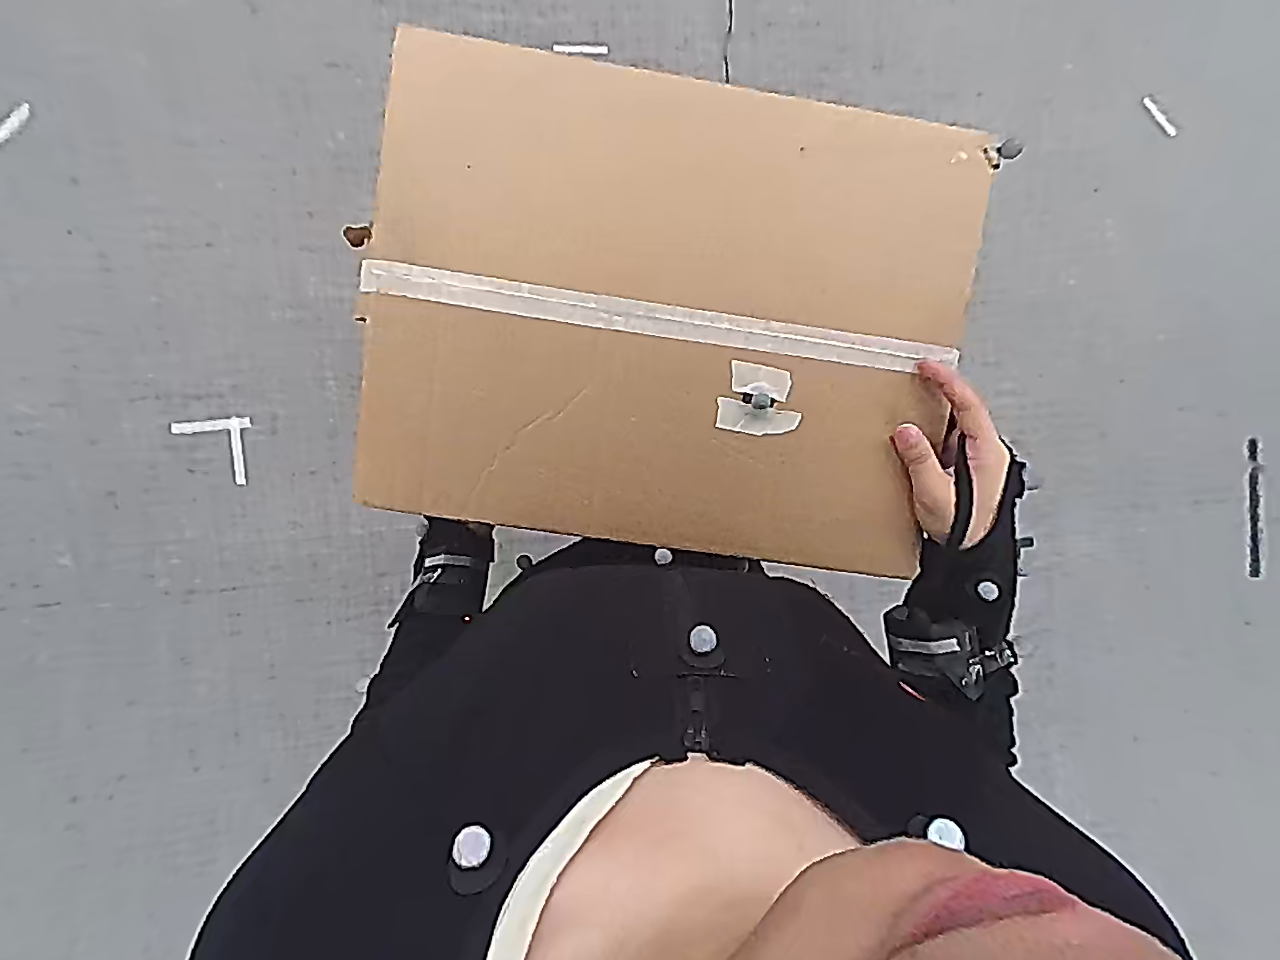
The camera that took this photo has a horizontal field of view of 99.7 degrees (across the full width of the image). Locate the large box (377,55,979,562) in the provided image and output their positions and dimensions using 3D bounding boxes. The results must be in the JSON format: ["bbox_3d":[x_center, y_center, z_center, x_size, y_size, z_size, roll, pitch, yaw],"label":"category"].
[{"bbox_3d":[0.017,-0.123,0.529,0.408,0.320,0.320,7,96,-4],"label":"large box"}]
